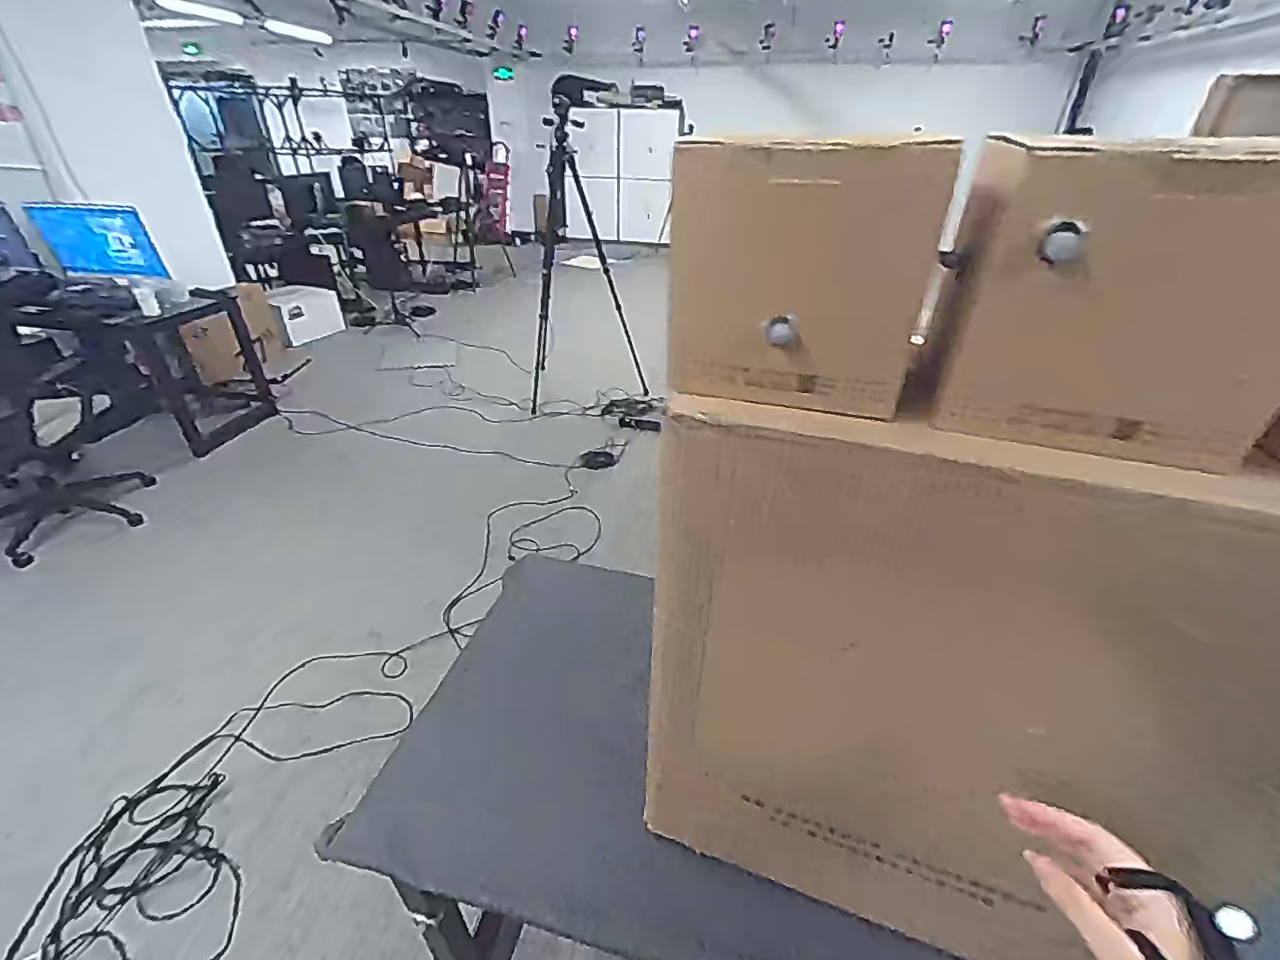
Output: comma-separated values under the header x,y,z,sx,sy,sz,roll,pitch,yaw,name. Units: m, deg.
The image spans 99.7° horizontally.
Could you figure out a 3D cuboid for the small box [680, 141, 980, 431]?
x,y,z,sx,sy,sz,roll,pitch,yaw,name
0.130,-0.158,0.415,0.168,0.176,0.179,10,35,16,small box
